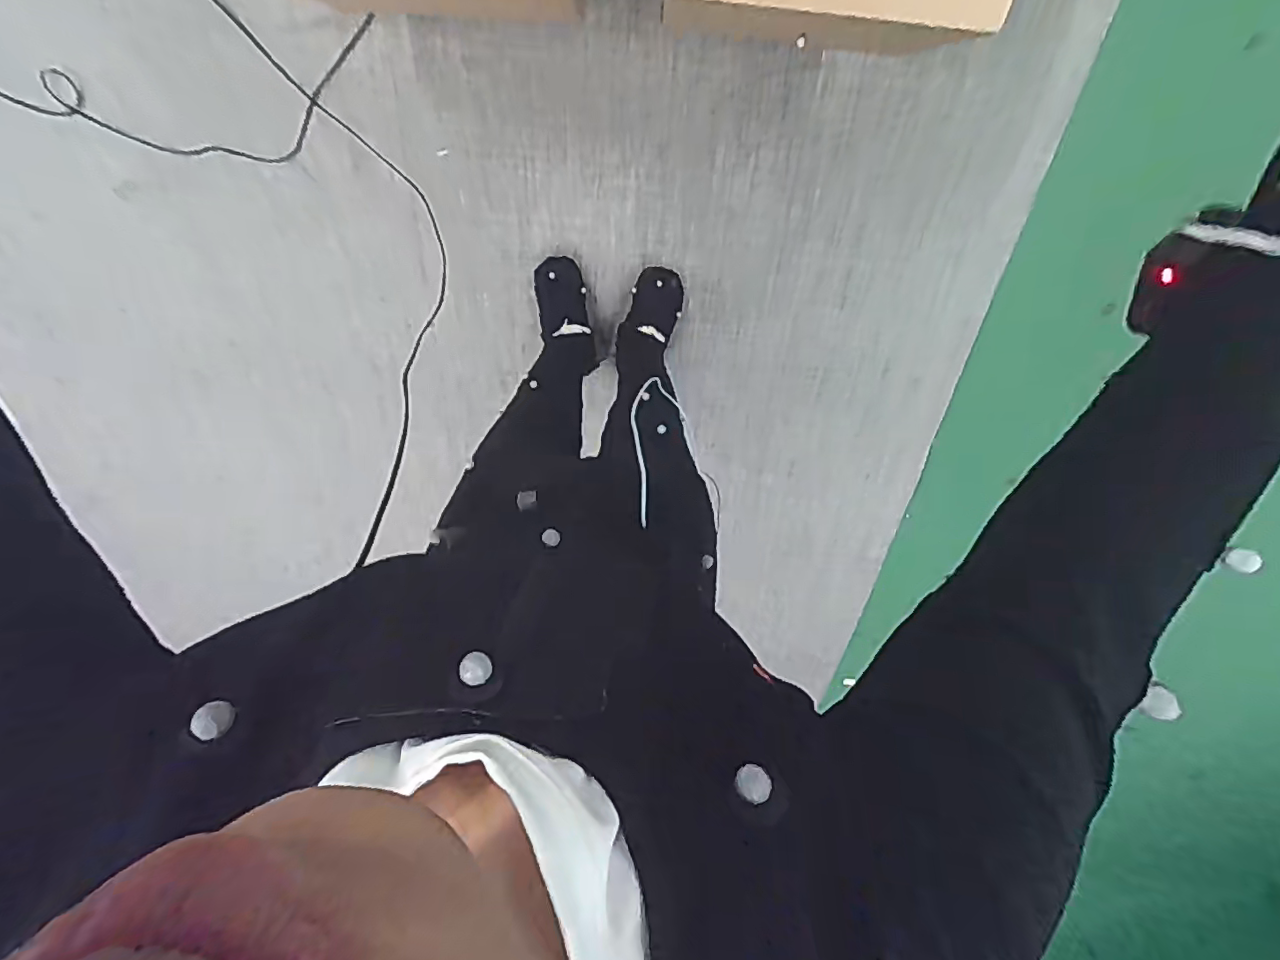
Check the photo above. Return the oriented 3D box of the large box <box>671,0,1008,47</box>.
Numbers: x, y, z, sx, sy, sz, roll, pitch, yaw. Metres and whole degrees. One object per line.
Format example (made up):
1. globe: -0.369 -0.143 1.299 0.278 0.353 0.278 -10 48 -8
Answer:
1. large box: 0.257 -0.771 0.687 0.408 0.320 0.320 5 124 -2
